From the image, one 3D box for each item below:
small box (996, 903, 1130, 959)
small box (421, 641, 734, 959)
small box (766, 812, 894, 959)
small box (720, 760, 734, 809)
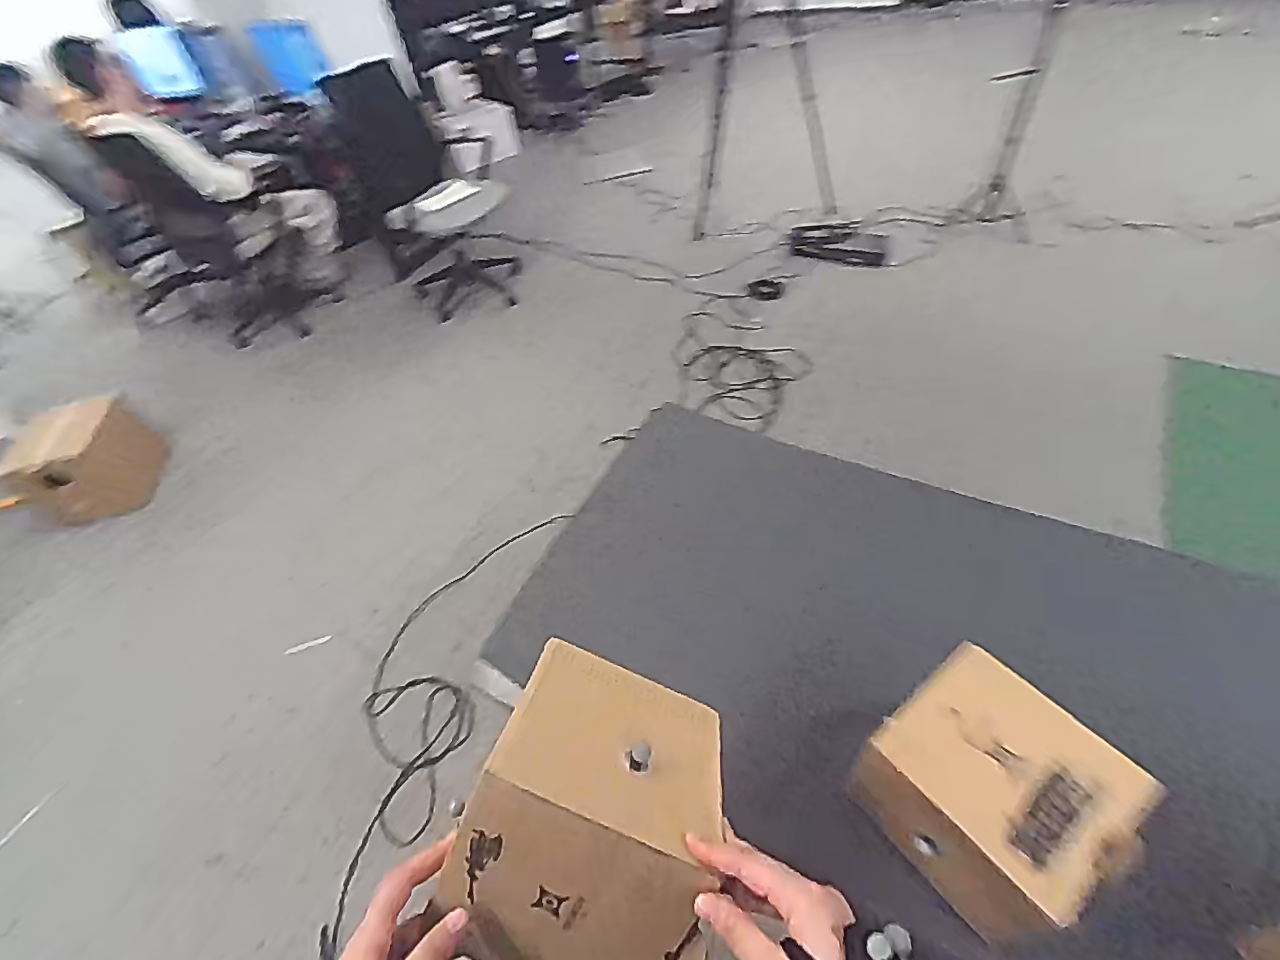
[{"bbox_3d":[0.742,0.892,0.945,0.179,0.176,0.168,23,56,25],"label":"small box"},{"bbox_3d":[-0.039,0.265,0.446,0.179,0.168,0.176,25,16,0],"label":"small box"},{"bbox_3d":[0.370,0.812,1.078,0.179,0.176,0.168,30,58,32],"label":"small box"},{"bbox_3d":[0.100,0.683,1.240,0.179,0.176,0.168,-26,49,-15],"label":"small box"}]
